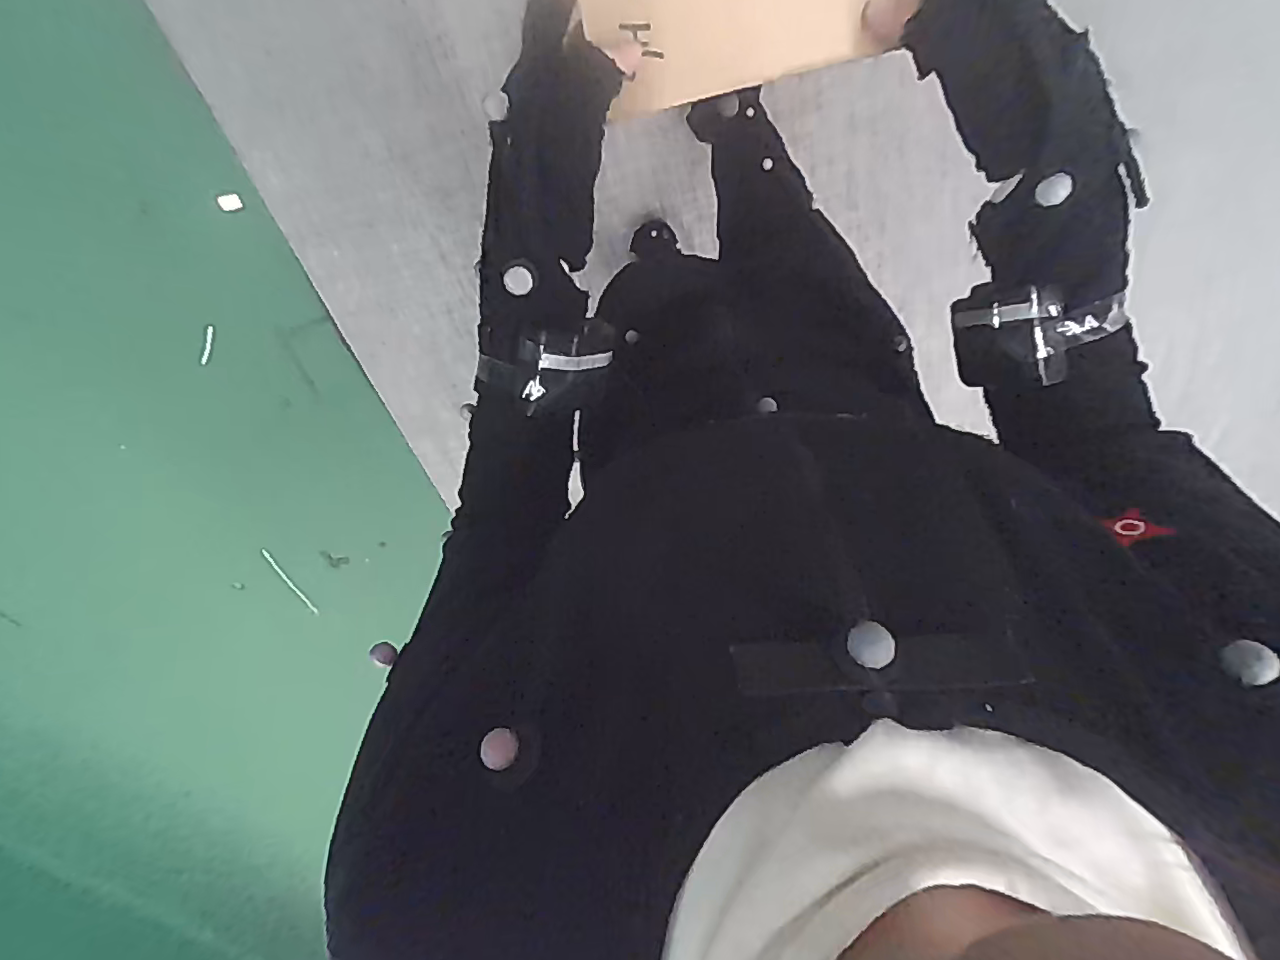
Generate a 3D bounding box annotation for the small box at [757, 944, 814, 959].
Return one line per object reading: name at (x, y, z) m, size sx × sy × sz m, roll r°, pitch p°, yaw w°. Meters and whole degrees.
small box at (0.468, 1.582, 1.682) m, size 0.179 × 0.176 × 0.168 m, roll -15°, pitch 124°, yaw 9°

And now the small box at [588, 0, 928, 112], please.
small box at (0.049, -0.332, 0.316) m, size 0.179 × 0.176 × 0.168 m, roll -10°, pitch 123°, yaw 6°
